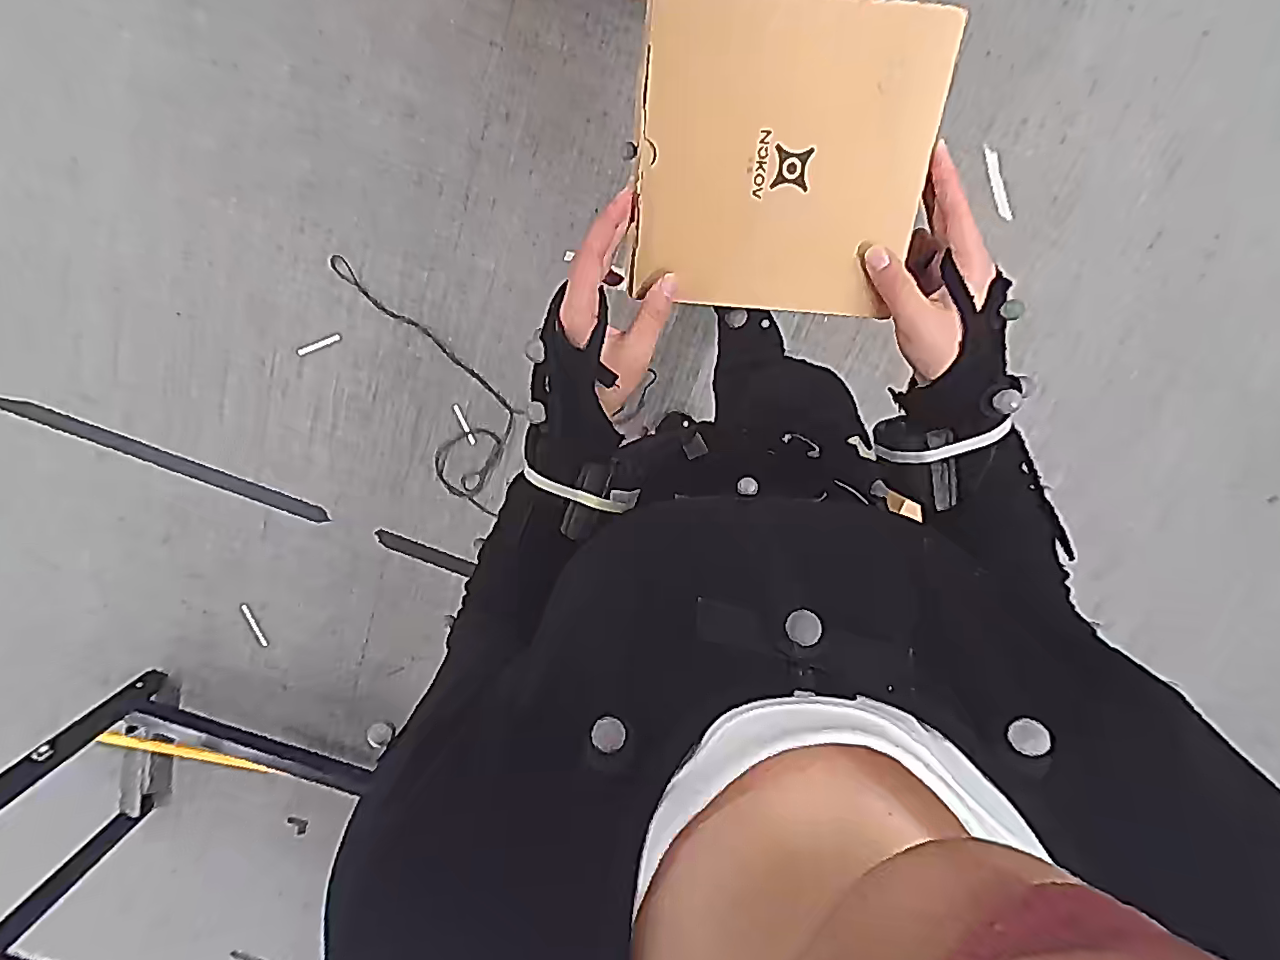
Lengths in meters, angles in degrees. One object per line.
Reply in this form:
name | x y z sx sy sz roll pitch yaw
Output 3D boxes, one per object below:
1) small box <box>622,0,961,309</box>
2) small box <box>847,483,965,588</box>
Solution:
small box | 0.080 -0.226 0.392 0.179 0.176 0.168 4 114 -3
small box | 0.625 0.125 1.298 0.168 0.176 0.179 21 105 -3
